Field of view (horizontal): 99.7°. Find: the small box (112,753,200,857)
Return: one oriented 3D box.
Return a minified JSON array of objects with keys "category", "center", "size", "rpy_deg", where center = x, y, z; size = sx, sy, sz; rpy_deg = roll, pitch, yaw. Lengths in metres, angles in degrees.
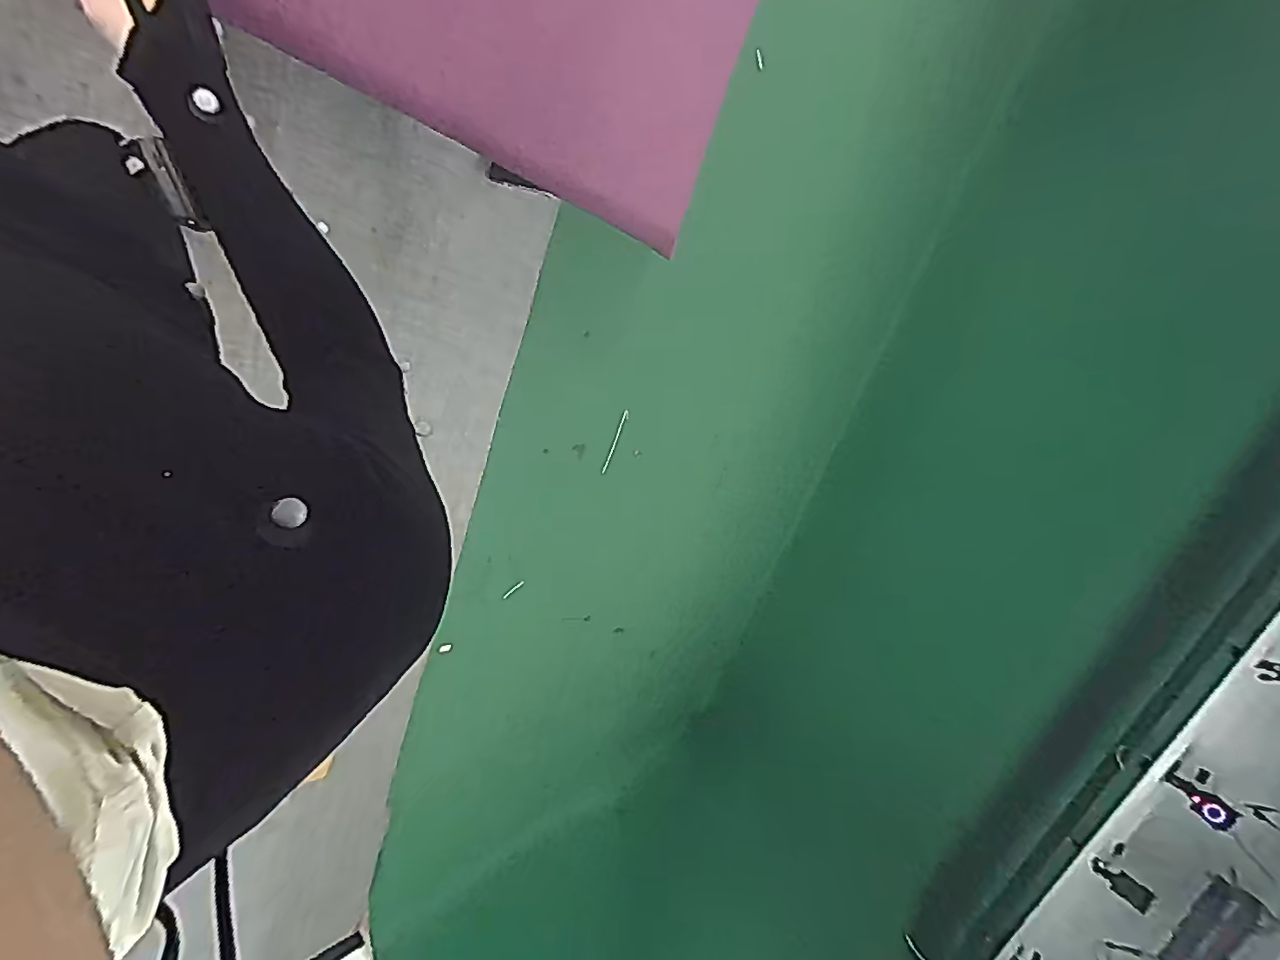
[{"category":"small box","center":[-1.466,0.973,1.634],"size":[0.179,0.176,0.168],"rpy_deg":[1,116,-50]}]

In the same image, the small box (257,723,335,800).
[{"category":"small box","center":[-1.225,0.982,1.924],"size":[0.179,0.176,0.168],"rpy_deg":[5,112,-52]}]
